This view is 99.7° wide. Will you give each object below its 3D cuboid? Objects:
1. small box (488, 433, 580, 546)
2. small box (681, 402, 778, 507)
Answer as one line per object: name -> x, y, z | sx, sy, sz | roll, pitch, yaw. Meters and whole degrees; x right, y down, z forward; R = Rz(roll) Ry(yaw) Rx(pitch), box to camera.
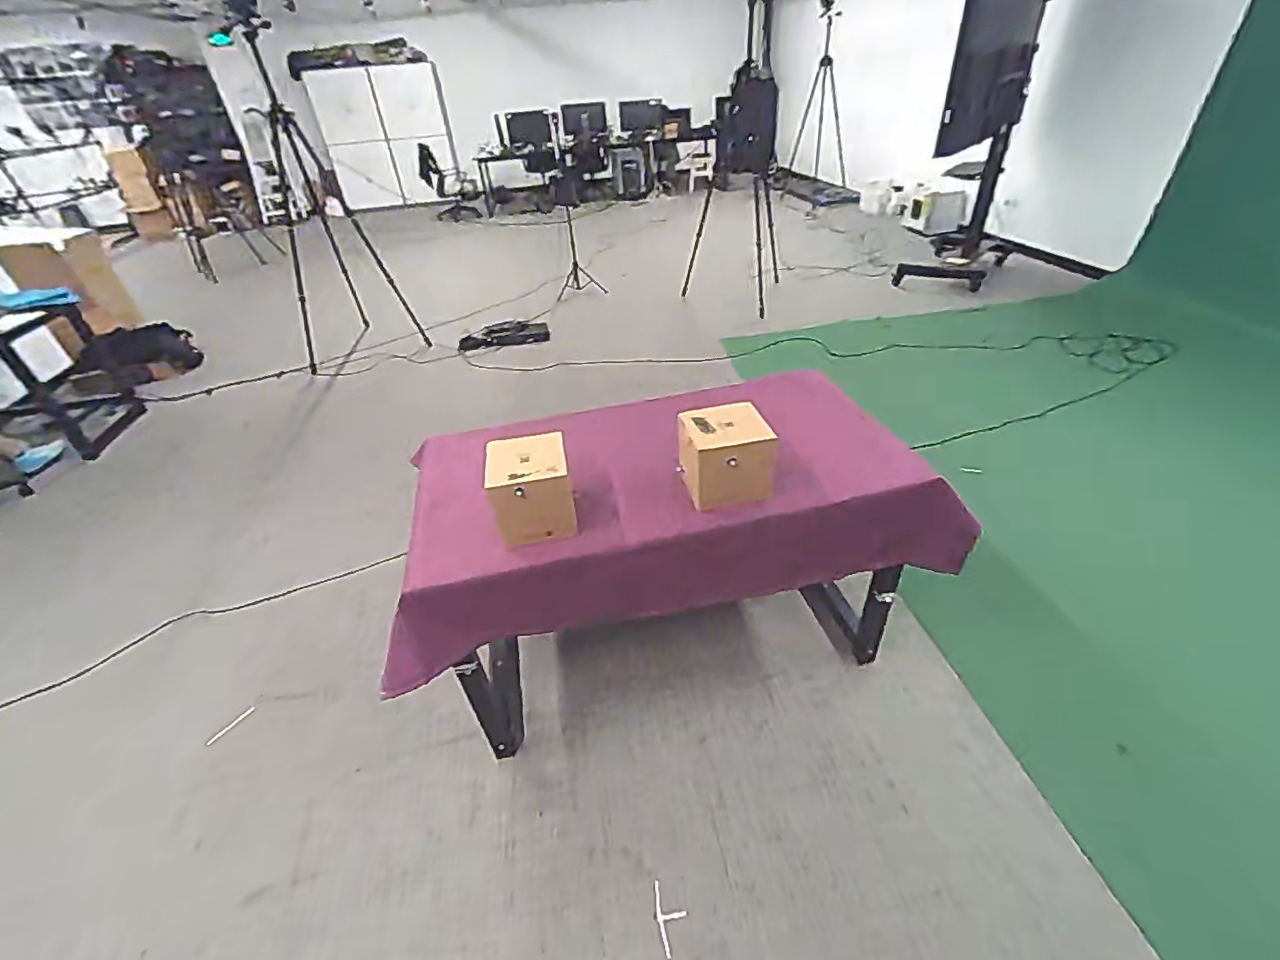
small box -> -0.228, 0.019, 1.189 | 0.168, 0.176, 0.179 | -10, 36, -5
small box -> 0.199, -0.055, 1.234 | 0.179, 0.176, 0.168 | -10, 37, -6
